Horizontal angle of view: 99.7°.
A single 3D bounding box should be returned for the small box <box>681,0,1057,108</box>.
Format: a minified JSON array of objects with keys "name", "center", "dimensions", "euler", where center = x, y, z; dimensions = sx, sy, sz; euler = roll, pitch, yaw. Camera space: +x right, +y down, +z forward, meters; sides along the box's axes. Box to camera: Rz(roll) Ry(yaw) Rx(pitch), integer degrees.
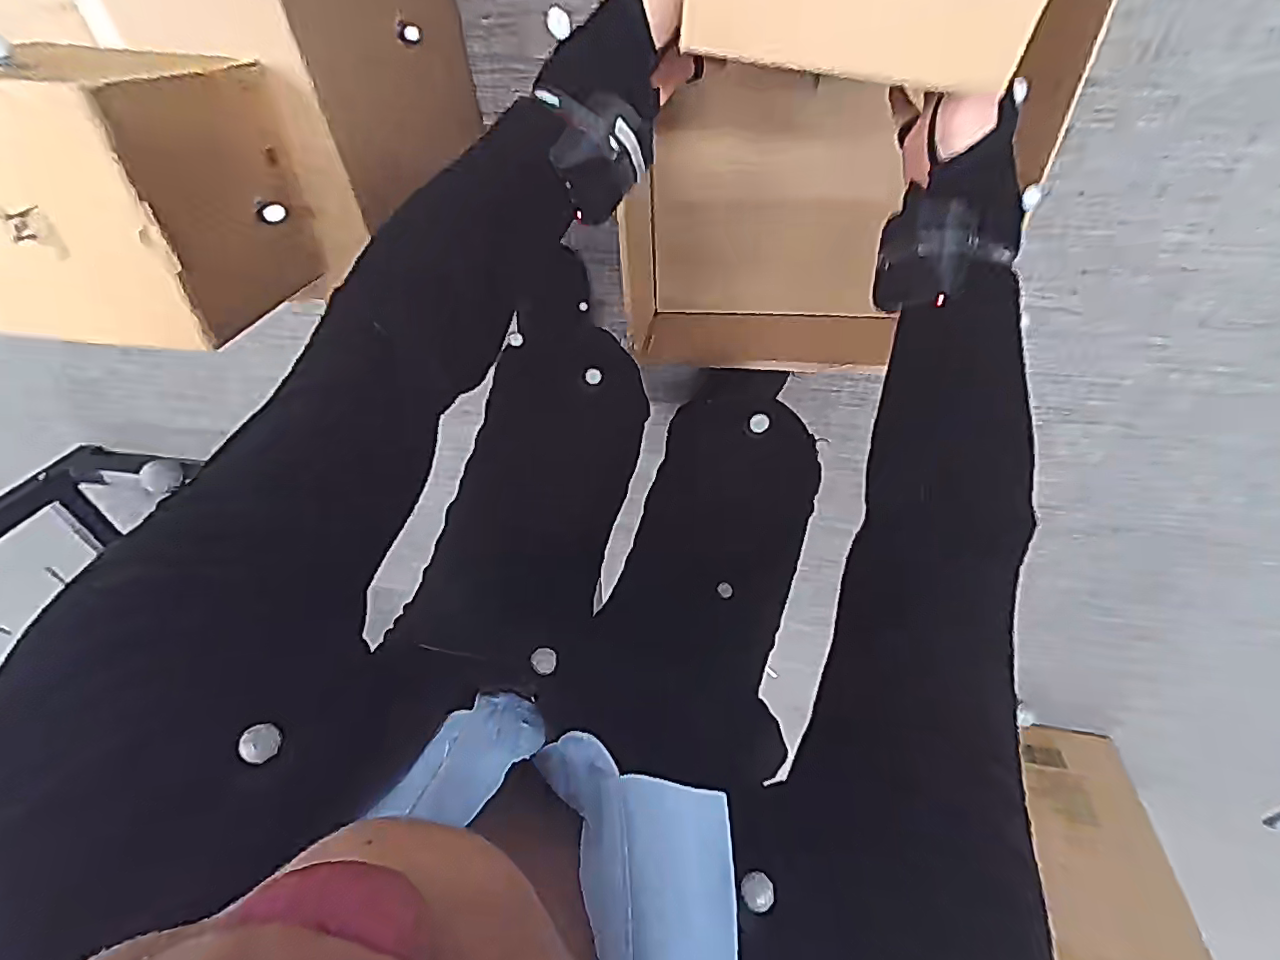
[{"name":"small box","center":[0.124,-0.313,0.267],"dimensions":[0.168,0.176,0.179],"euler":[12,132,3]}]
